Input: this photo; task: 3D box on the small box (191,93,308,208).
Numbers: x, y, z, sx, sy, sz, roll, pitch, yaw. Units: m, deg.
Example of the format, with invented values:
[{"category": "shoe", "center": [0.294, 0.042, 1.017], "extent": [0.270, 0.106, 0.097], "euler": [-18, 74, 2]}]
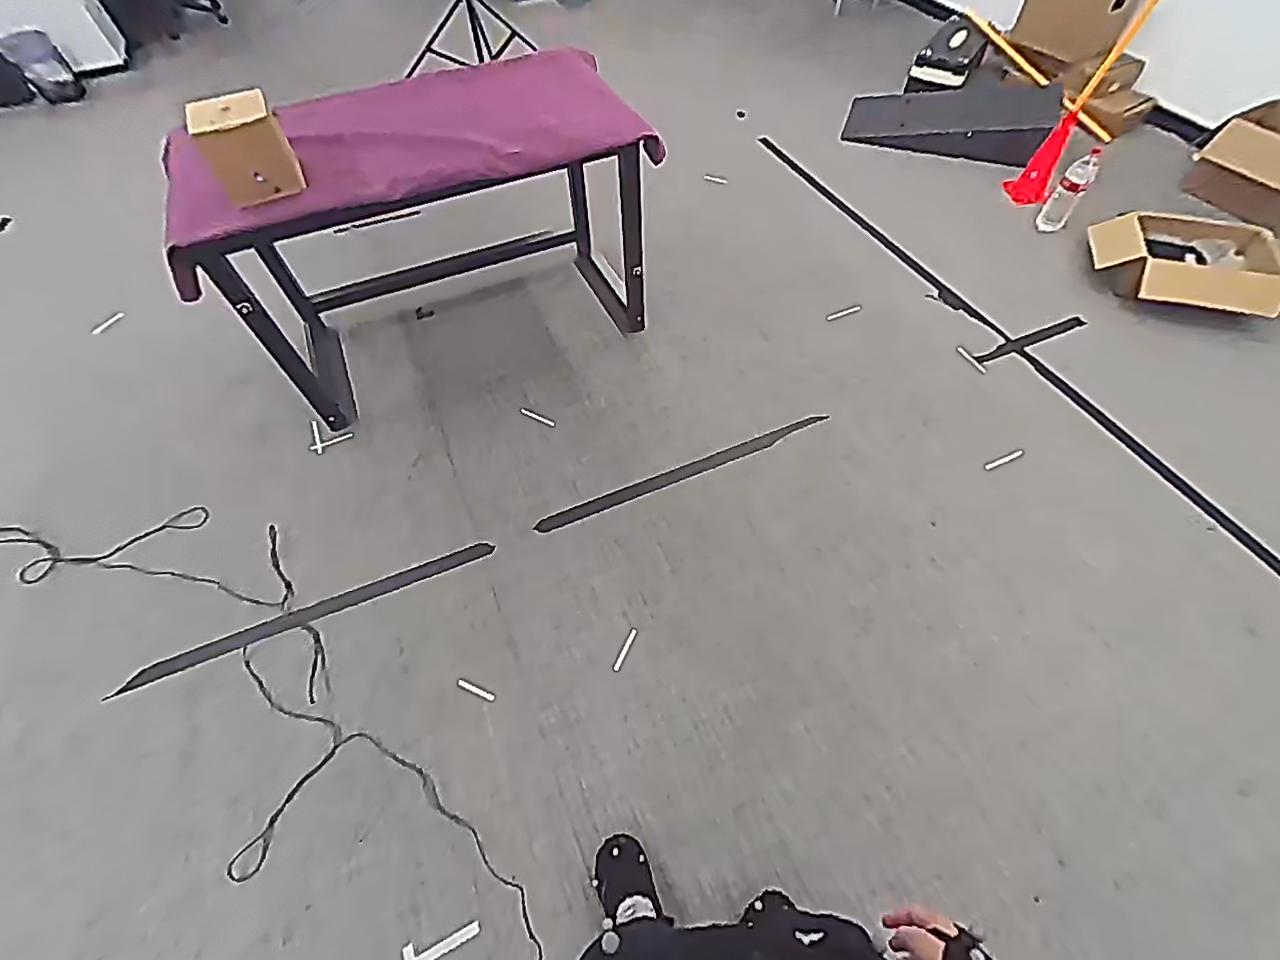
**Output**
[{"category": "small box", "center": [-0.936, -0.791, 1.303], "extent": [0.168, 0.176, 0.179], "euler": [-24, 59, -13]}]
